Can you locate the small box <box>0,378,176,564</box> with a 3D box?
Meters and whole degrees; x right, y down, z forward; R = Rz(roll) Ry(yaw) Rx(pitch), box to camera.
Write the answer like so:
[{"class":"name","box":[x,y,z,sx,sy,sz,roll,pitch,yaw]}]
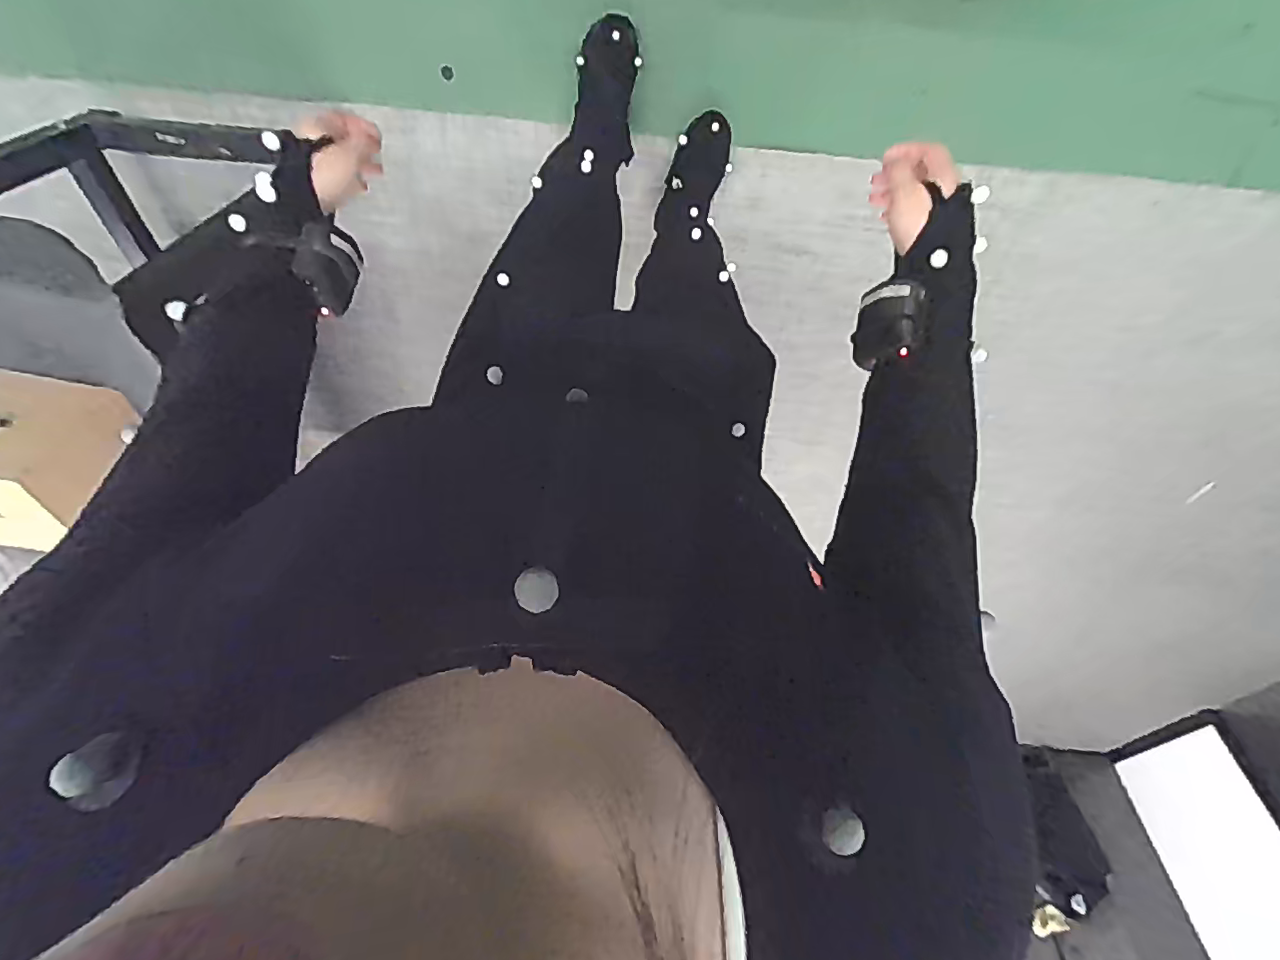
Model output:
[{"class":"small box","box":[-0.790,-0.014,0.717,0.179,0.176,0.168,9,138,-3]}]
